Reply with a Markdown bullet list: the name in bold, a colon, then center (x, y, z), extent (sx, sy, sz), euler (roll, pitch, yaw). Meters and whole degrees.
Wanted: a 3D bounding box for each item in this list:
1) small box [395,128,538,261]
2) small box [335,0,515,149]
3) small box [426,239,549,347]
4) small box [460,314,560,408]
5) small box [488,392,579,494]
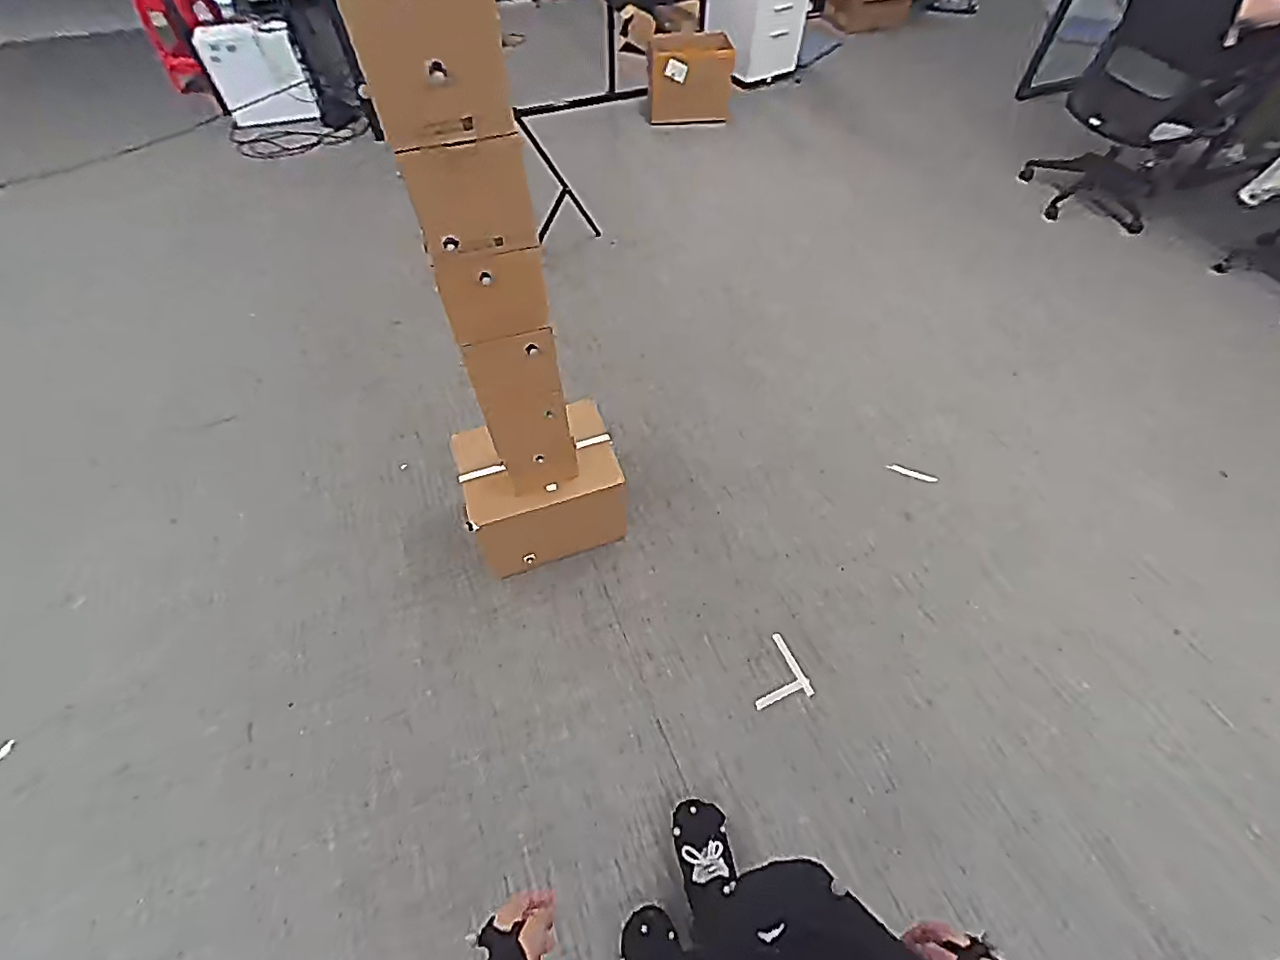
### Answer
- **small box**: center (-0.262, -0.455, 0.823), extent (0.168, 0.176, 0.179), euler (-16, 57, -10)
- **small box**: center (-0.267, -0.543, 0.684), extent (0.168, 0.176, 0.179), euler (-17, 59, -11)
- **small box**: center (-0.265, -0.362, 0.958), extent (0.179, 0.176, 0.168), euler (-16, 58, -10)
- **small box**: center (-0.265, -0.272, 1.092), extent (0.179, 0.176, 0.168), euler (-16, 57, -11)
- **small box**: center (-0.263, -0.087, 1.364), extent (0.179, 0.176, 0.168), euler (-18, 59, -13)
